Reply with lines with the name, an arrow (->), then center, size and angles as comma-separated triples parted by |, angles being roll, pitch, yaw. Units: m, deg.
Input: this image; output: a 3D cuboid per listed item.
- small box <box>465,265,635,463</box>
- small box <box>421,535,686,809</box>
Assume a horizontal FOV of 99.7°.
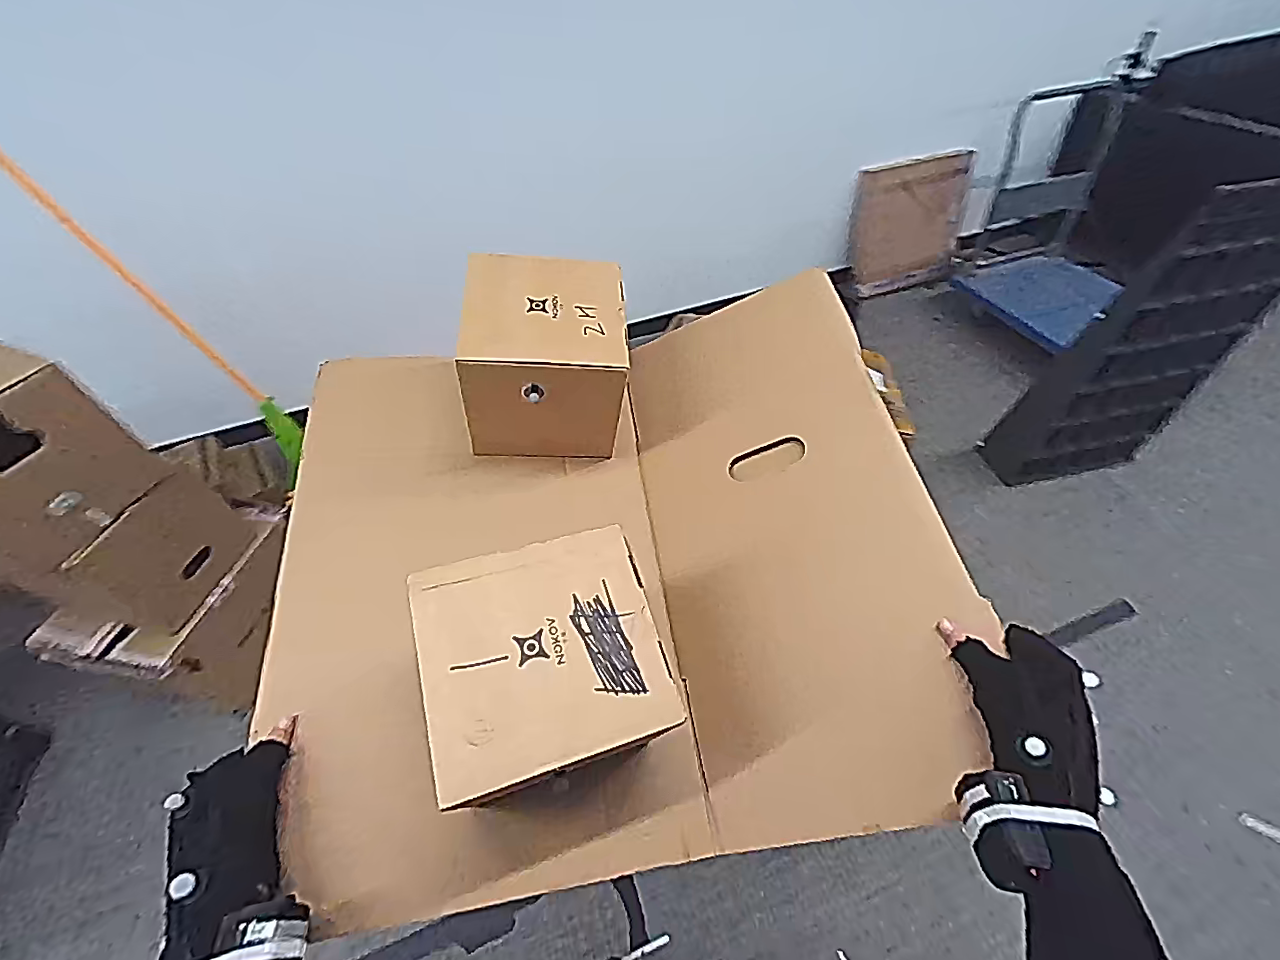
small box -> -0.104, -0.133, 0.660 | 0.179, 0.176, 0.168 | 3, 59, -9
small box -> -0.081, 0.170, 0.480 | 0.179, 0.176, 0.168 | -11, 62, -16
